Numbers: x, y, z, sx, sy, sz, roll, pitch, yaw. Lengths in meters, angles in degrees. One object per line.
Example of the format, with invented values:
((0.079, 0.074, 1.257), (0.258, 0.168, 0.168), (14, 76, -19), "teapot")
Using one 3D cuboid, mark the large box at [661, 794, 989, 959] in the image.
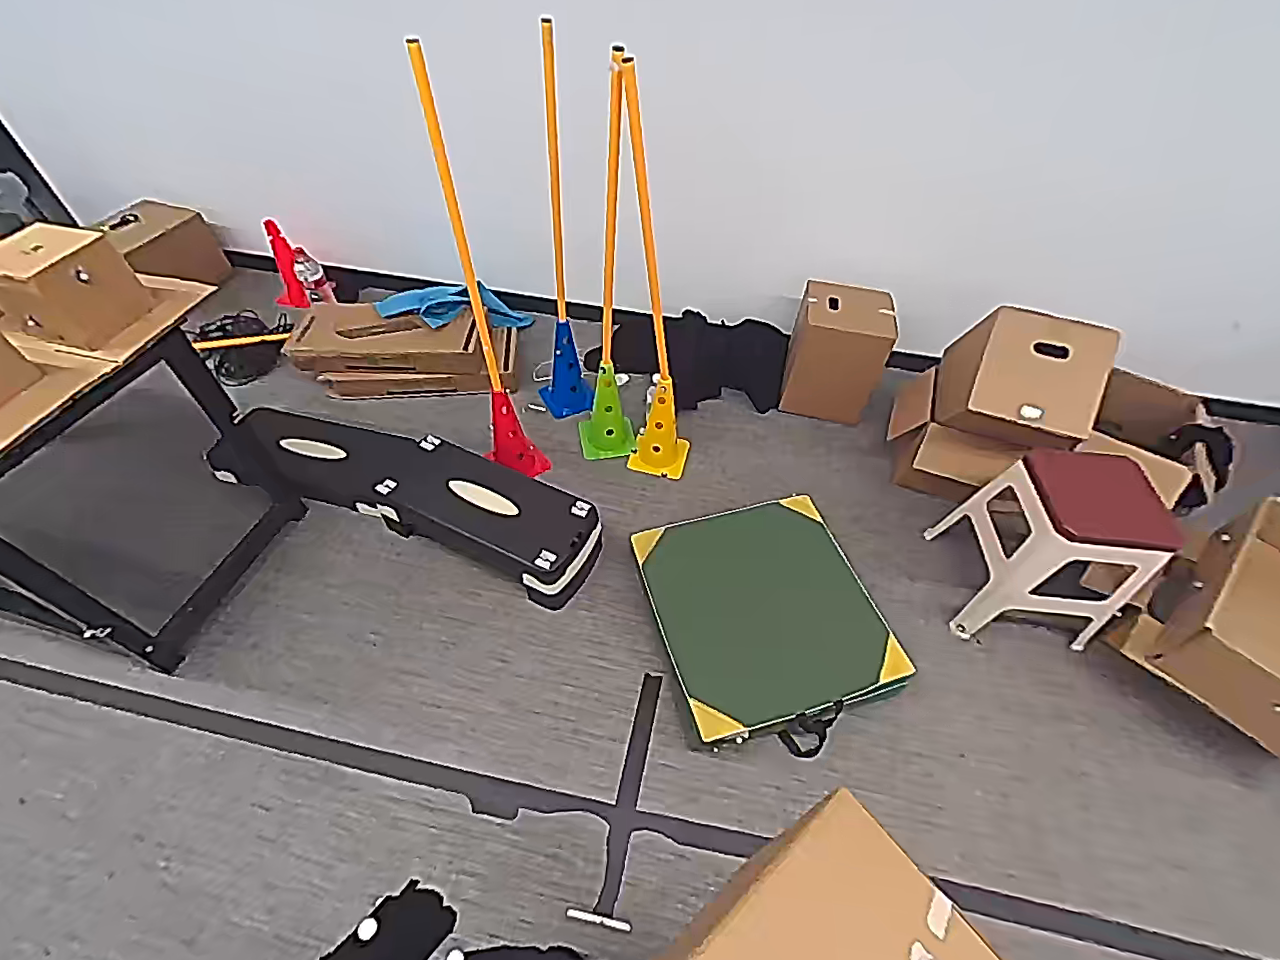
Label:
((0.212, 0.710, 0.710), (0.320, 0.408, 0.320), (-17, 49, -35), "large box")
